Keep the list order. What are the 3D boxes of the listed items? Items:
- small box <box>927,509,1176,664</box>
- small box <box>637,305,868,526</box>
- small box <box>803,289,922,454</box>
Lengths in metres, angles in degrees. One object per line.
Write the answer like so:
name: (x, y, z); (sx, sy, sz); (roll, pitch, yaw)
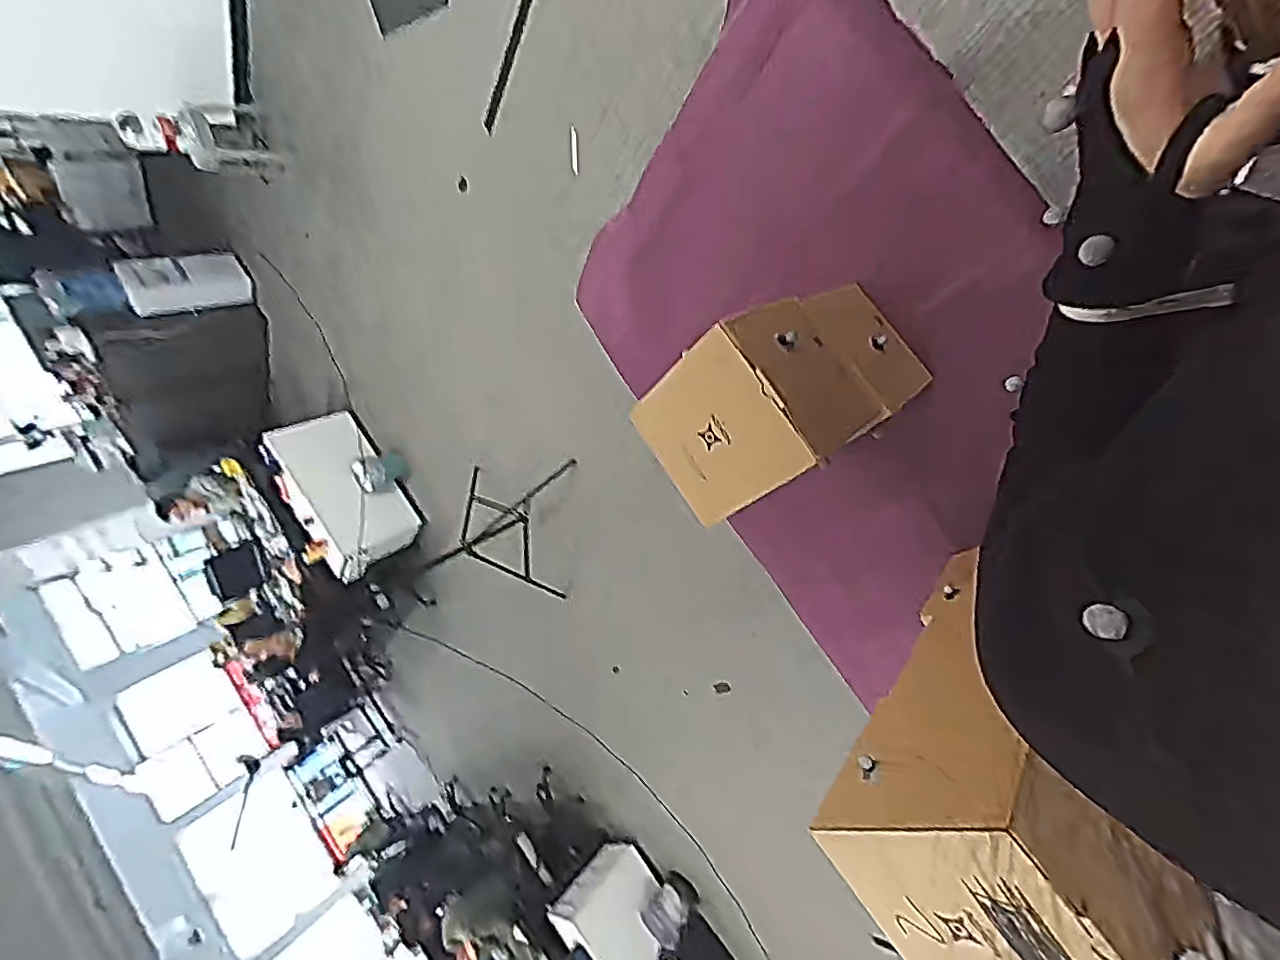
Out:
small box: (0.497, 0.161, 0.658); (0.168, 0.176, 0.179); (53, 139, 7)
small box: (0.135, -0.078, 0.627); (0.168, 0.176, 0.179); (56, 140, 6)
small box: (0.249, -0.132, 0.730); (0.168, 0.176, 0.179); (54, 139, 7)
